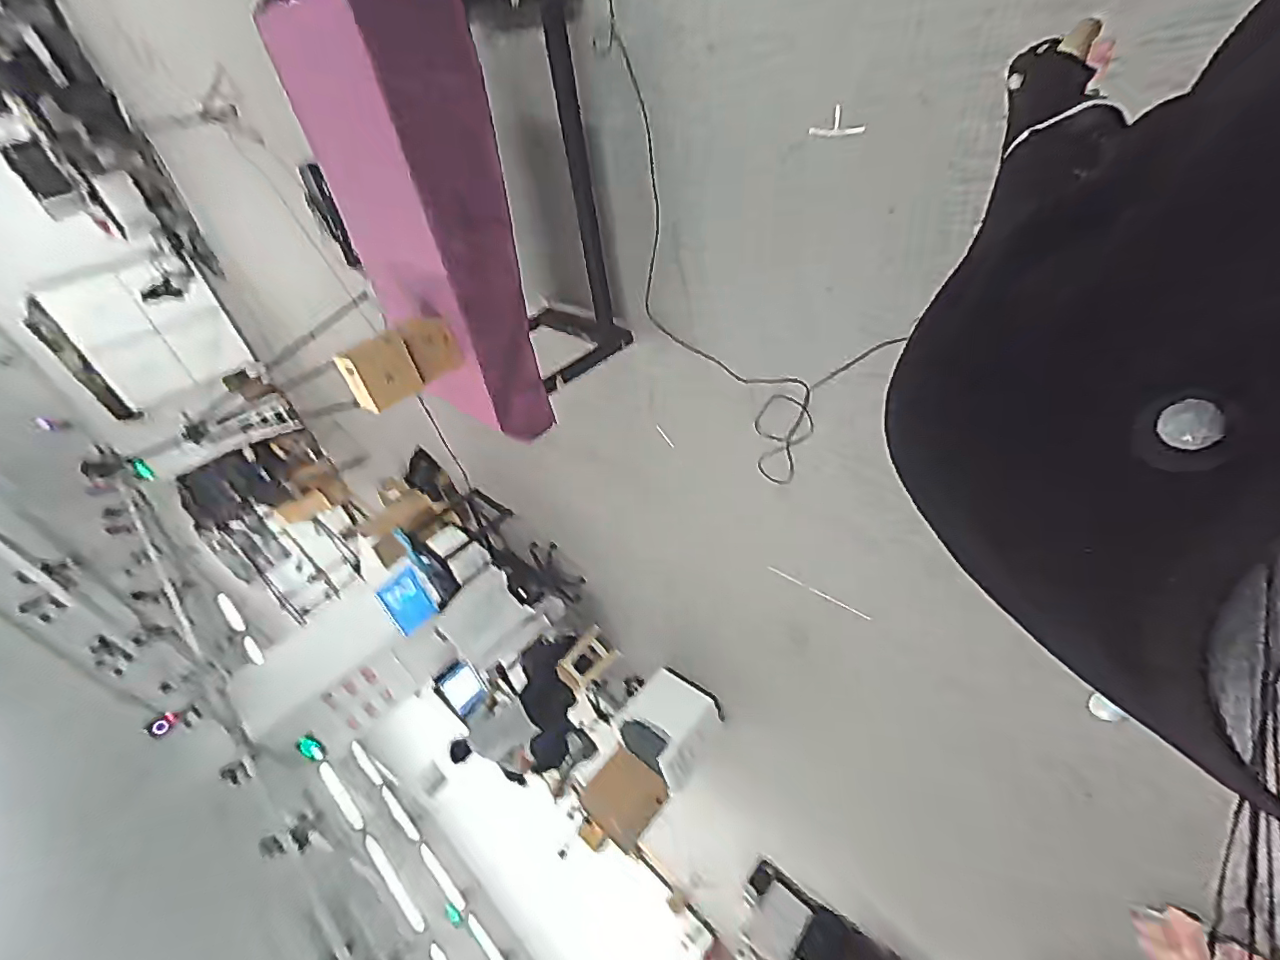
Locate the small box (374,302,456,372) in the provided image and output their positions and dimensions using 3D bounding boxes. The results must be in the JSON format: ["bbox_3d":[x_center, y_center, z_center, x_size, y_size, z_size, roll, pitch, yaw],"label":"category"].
[{"bbox_3d":[-0.741,-0.480,1.801,0.179,0.176,0.168,22,139,40],"label":"small box"}]

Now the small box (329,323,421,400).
[{"bbox_3d":[-0.831,-0.380,1.704,0.168,0.176,0.179,21,139,40],"label":"small box"}]
